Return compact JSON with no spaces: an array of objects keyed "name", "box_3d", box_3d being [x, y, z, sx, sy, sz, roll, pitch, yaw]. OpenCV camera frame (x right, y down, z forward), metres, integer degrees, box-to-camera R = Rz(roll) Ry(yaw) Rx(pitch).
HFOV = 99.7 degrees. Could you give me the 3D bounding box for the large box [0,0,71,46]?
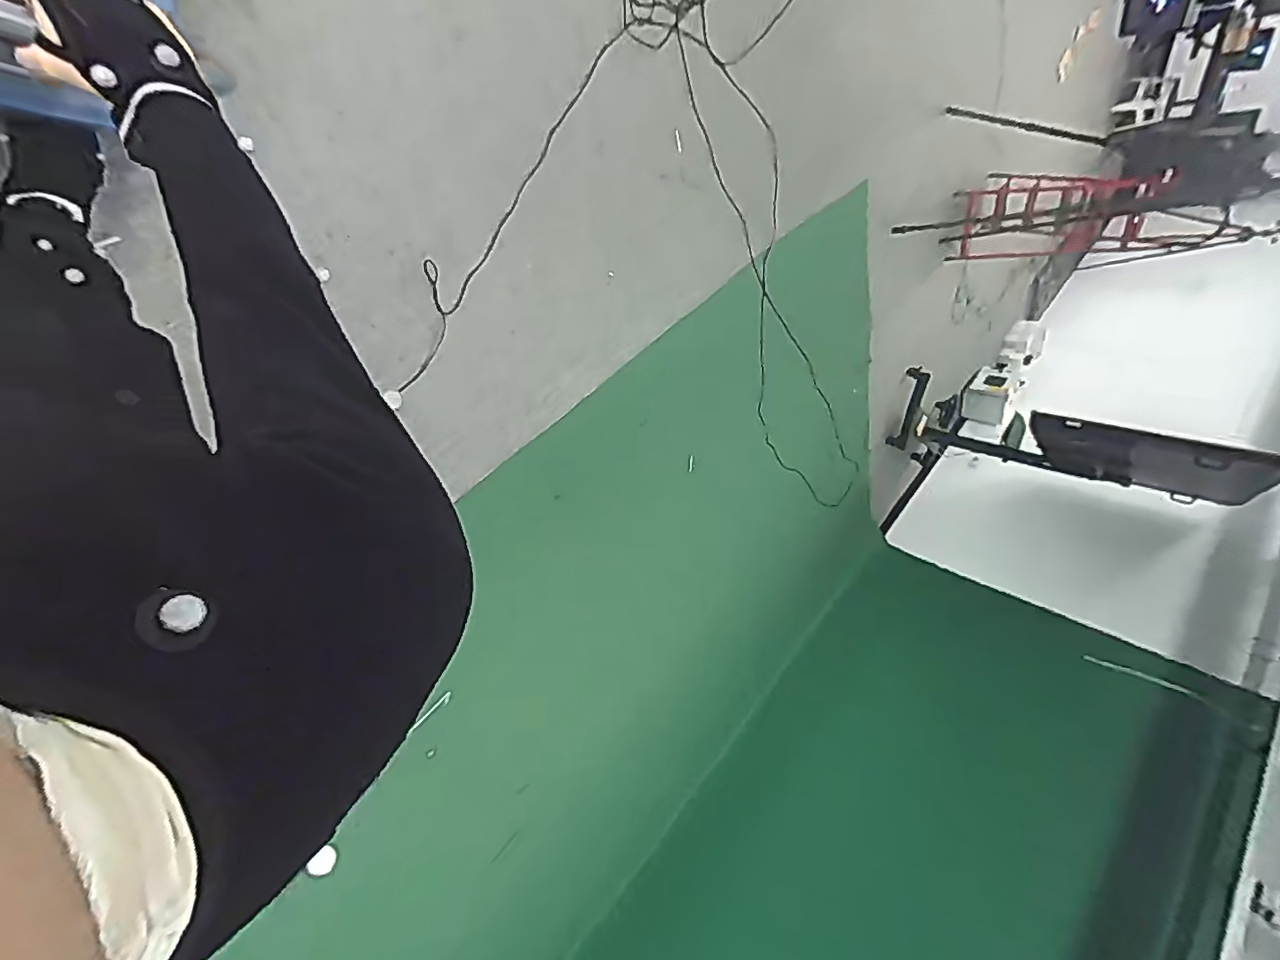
[{"name":"large box","box_3d":[-0.916,-0.824,0.620,0.320,0.320,0.408,-10,114,-44]}]
